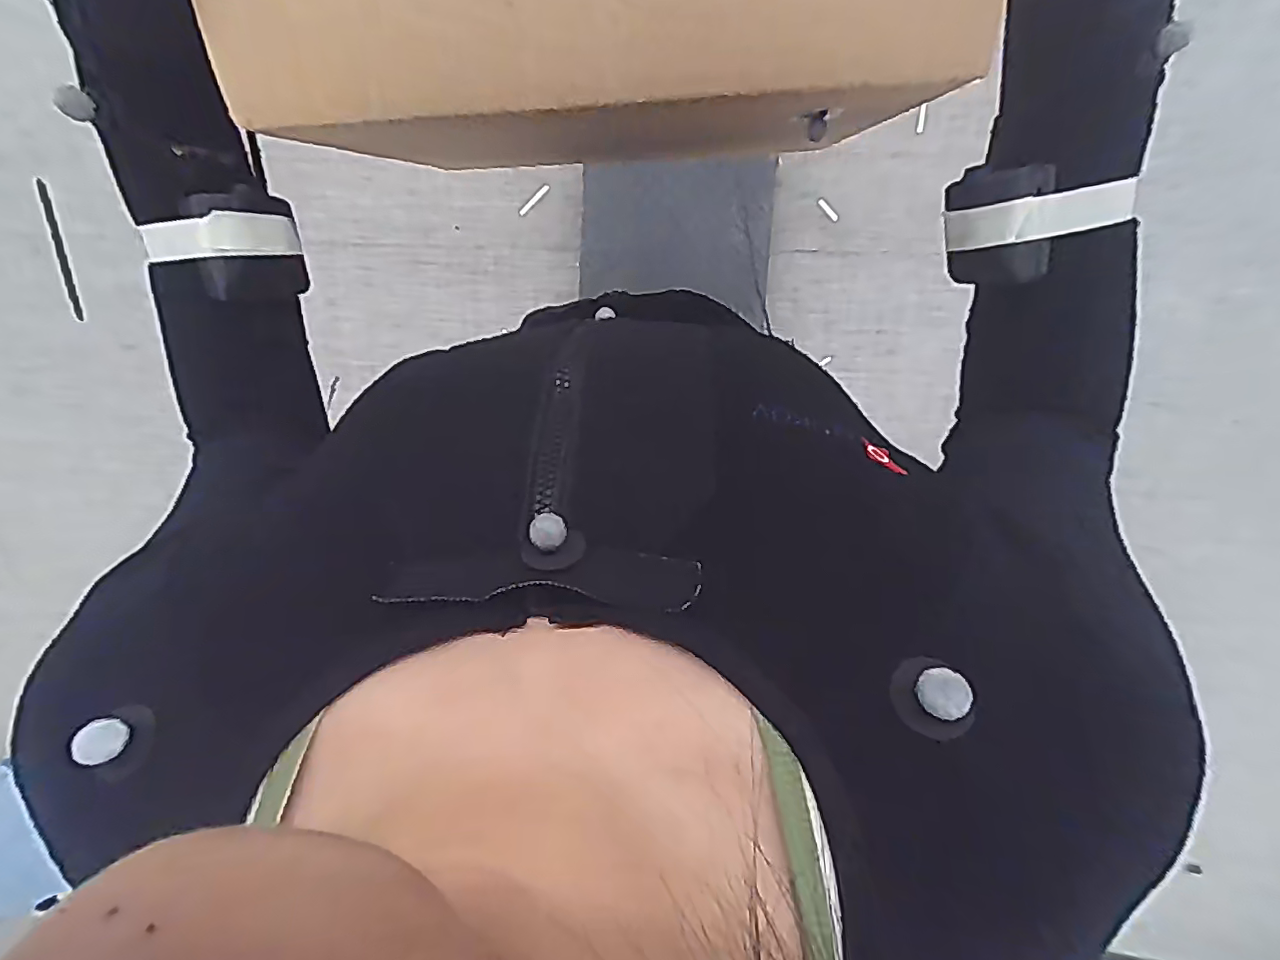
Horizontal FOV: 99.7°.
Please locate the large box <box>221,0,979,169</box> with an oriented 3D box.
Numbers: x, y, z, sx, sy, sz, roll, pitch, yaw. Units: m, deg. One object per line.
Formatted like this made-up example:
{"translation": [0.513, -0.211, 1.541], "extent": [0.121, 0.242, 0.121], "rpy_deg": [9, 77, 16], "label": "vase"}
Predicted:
{"translation": [-0.023, -0.410, 0.370], "extent": [0.408, 0.320, 0.320], "rpy_deg": [-1, 115, 4], "label": "large box"}
